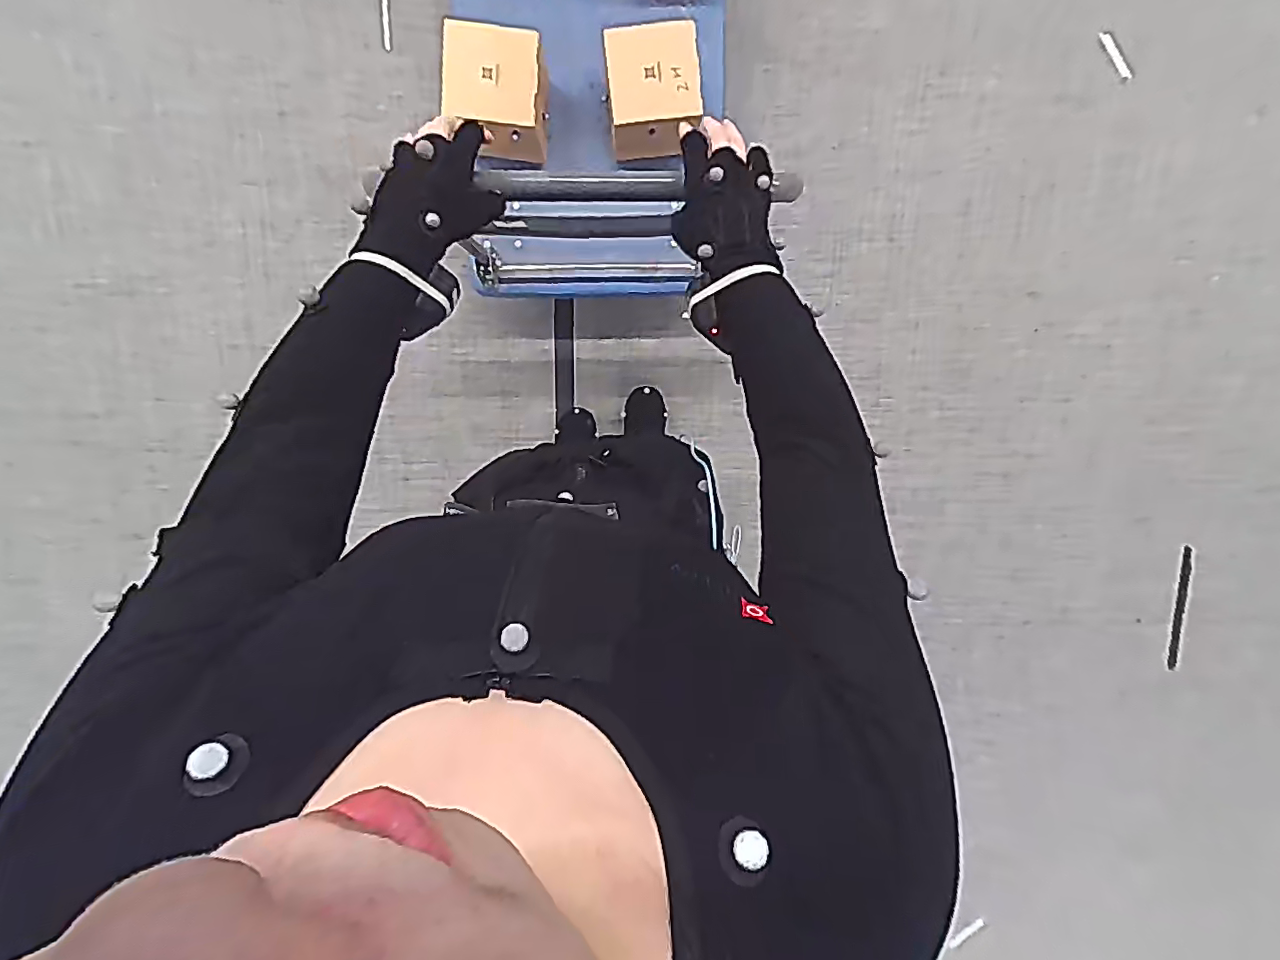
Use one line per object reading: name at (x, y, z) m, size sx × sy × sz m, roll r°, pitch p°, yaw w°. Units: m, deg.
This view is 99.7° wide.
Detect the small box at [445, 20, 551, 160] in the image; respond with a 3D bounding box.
small box at (-0.279, -0.772, 1.090) m, size 0.179 × 0.176 × 0.168 m, roll 4°, pitch 99°, yaw -5°

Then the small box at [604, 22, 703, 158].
small box at (0.026, -0.781, 1.101) m, size 0.179 × 0.176 × 0.168 m, roll -7°, pitch 100°, yaw -1°
